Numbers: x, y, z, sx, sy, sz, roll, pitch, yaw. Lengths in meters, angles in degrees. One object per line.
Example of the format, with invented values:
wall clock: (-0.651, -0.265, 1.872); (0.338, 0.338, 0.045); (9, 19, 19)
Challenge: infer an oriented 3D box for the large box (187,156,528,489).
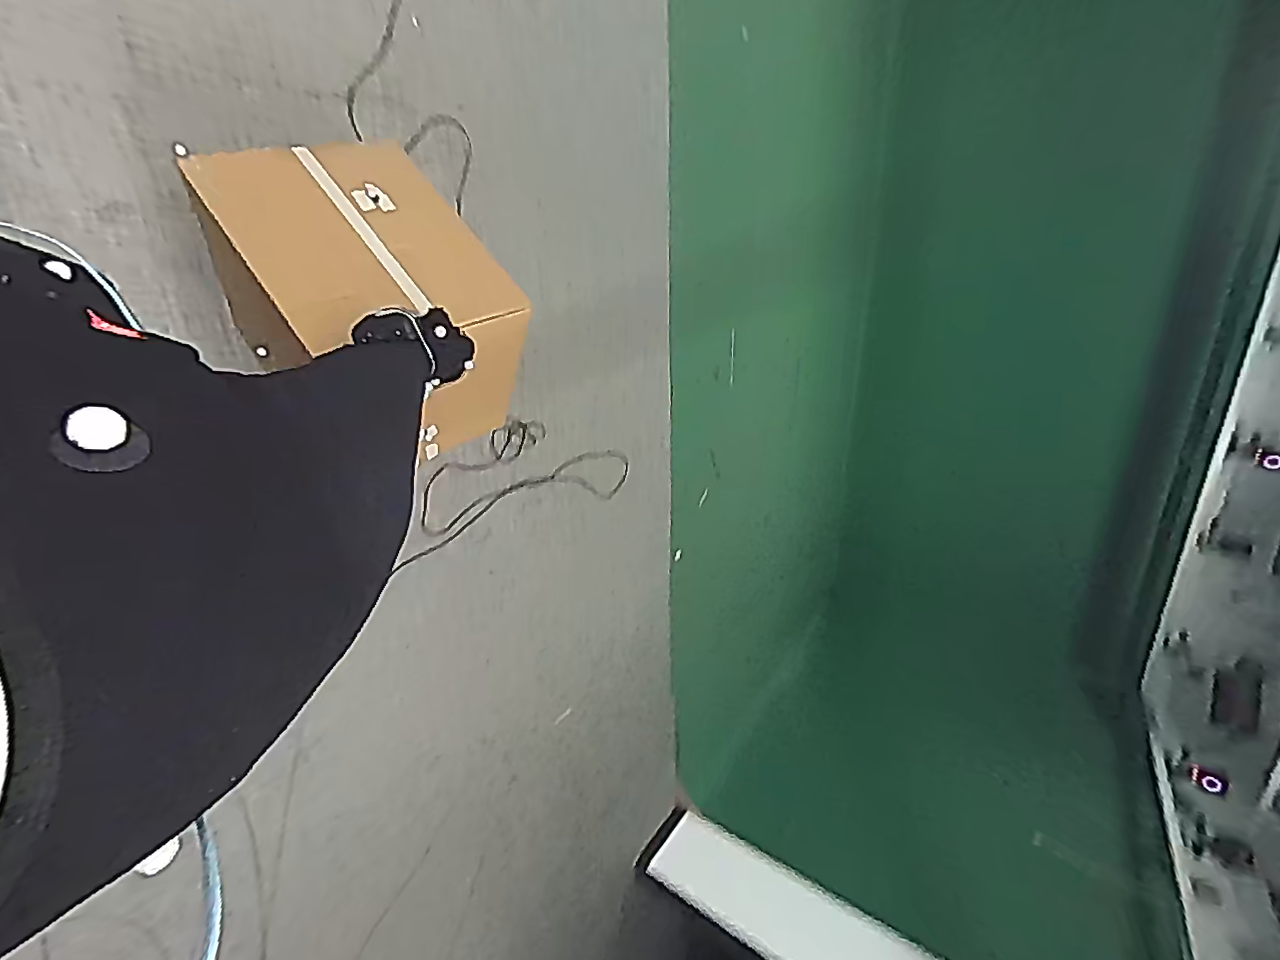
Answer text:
large box: (-0.449, -0.264, 0.914); (0.320, 0.408, 0.320); (-30, 164, -35)
